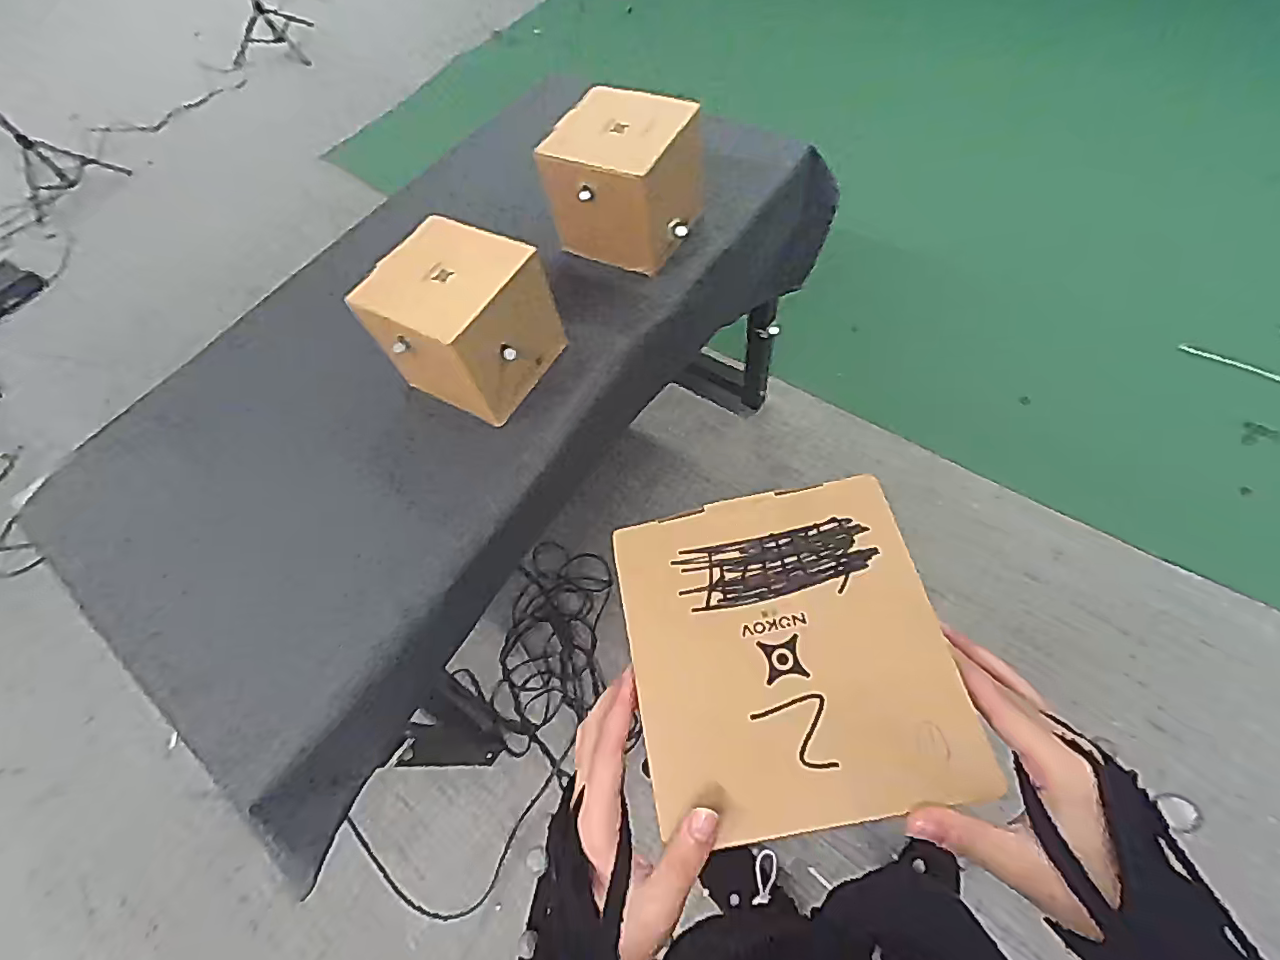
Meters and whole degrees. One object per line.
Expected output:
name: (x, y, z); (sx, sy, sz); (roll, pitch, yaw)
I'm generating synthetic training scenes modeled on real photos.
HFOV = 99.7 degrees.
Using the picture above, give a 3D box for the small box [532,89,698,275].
small box: (-0.026, -0.437, 0.806); (0.179, 0.176, 0.168); (24, 69, 18)

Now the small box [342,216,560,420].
small box: (-0.229, -0.203, 0.707); (0.179, 0.176, 0.168); (25, 68, 20)
